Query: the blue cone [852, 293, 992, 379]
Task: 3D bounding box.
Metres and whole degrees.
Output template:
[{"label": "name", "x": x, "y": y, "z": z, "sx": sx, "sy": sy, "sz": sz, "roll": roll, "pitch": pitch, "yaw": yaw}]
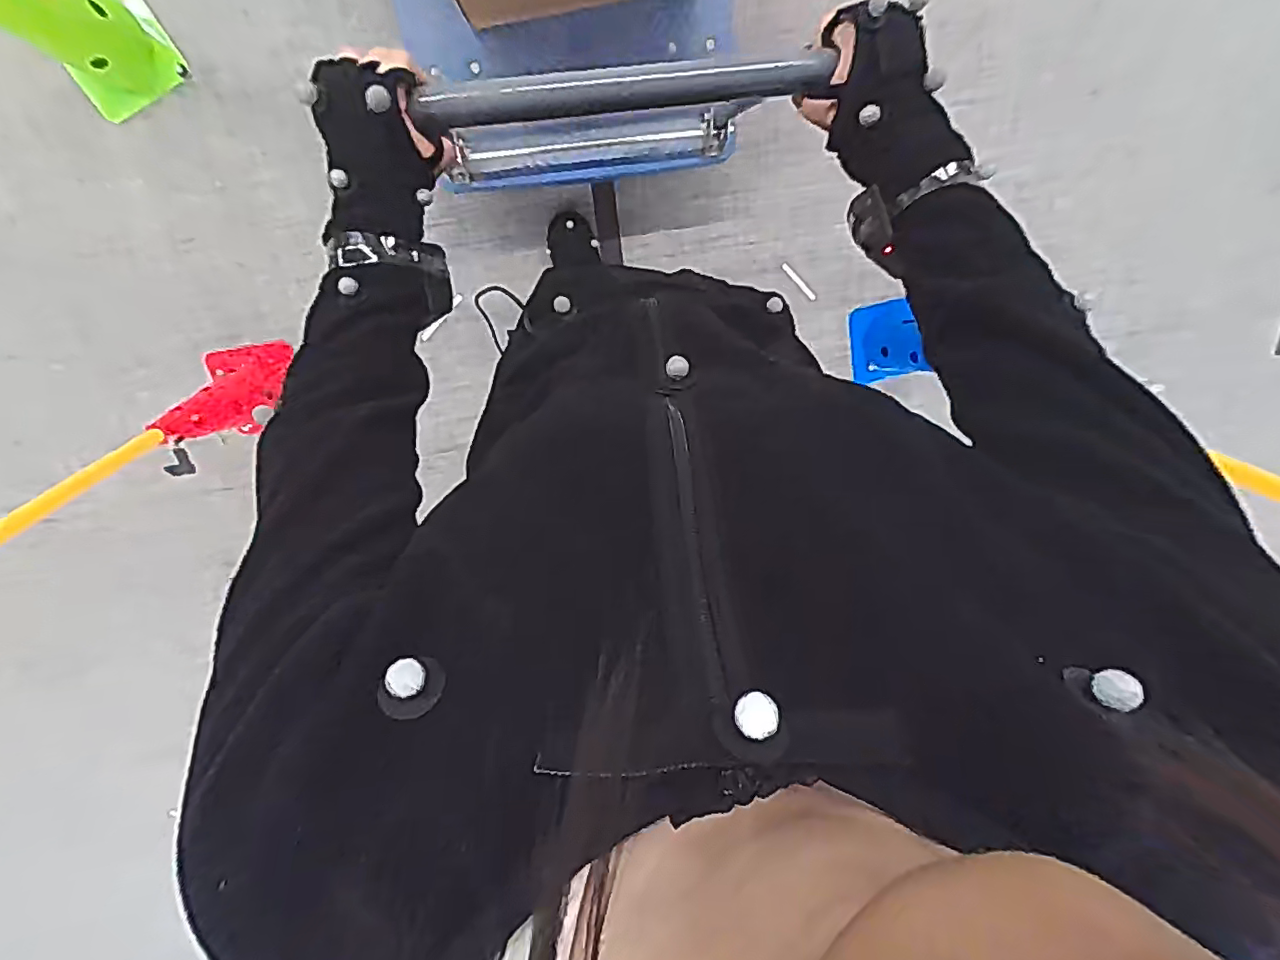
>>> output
[{"label": "blue cone", "x": 0.659, "y": -0.305, "z": 1.236, "sx": 0.193, "sy": 0.380, "sz": 0.192, "roll": -13, "pitch": 112, "yaw": -1}]
